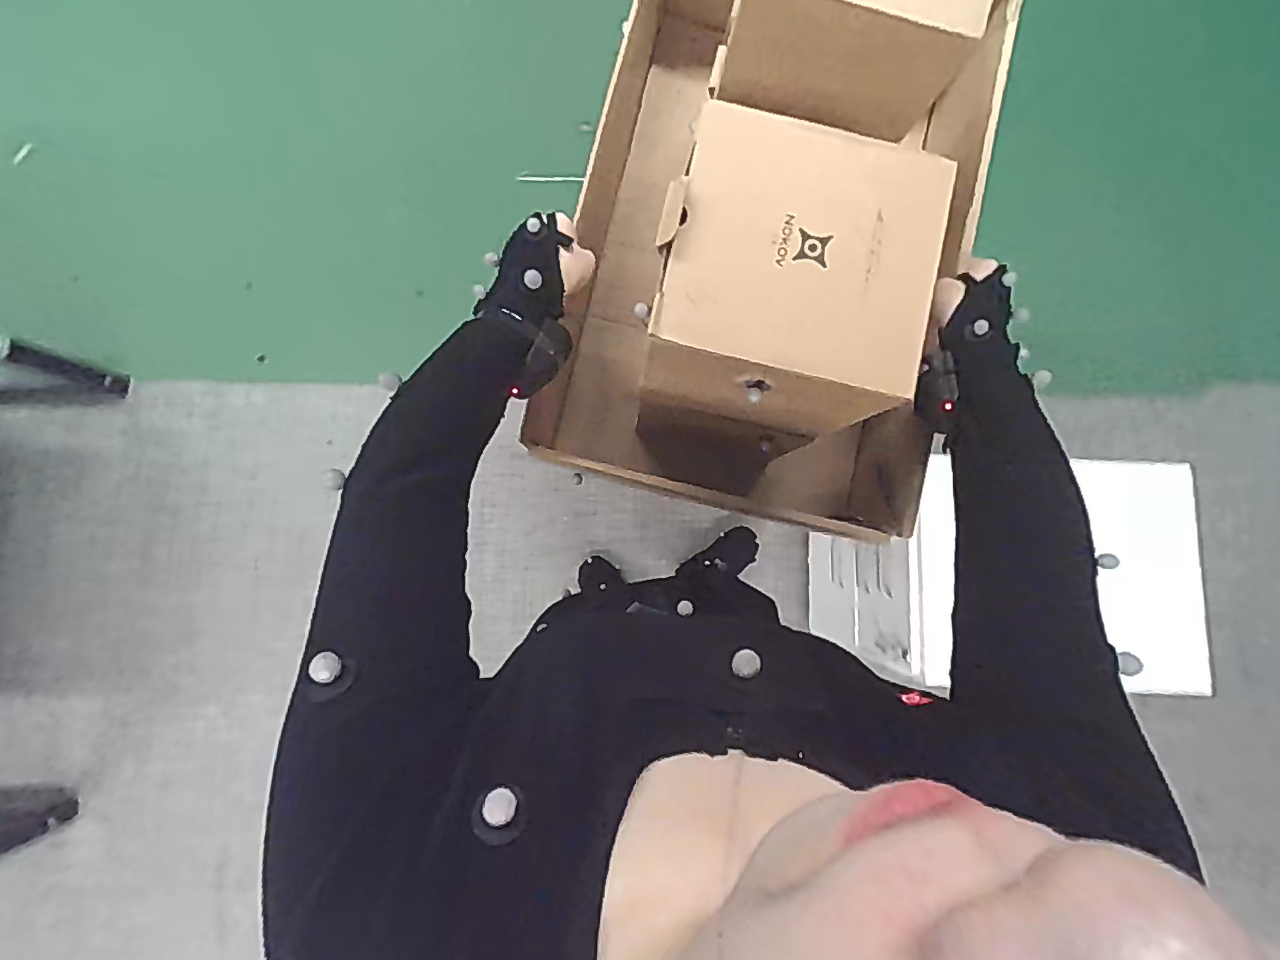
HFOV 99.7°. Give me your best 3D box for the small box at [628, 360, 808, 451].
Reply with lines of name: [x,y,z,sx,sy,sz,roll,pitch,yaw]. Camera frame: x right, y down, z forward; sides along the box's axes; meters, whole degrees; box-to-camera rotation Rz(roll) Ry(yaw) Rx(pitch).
small box: [0.087,-0.134,0.599,0.179,0.176,0.168,13,85,-2]

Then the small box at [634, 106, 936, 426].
small box: [0.095,-0.148,0.436,0.179,0.176,0.168,12,87,-3]

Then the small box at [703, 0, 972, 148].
small box: [0.157,-0.395,0.451,0.168,0.176,0.179,14,88,-2]
